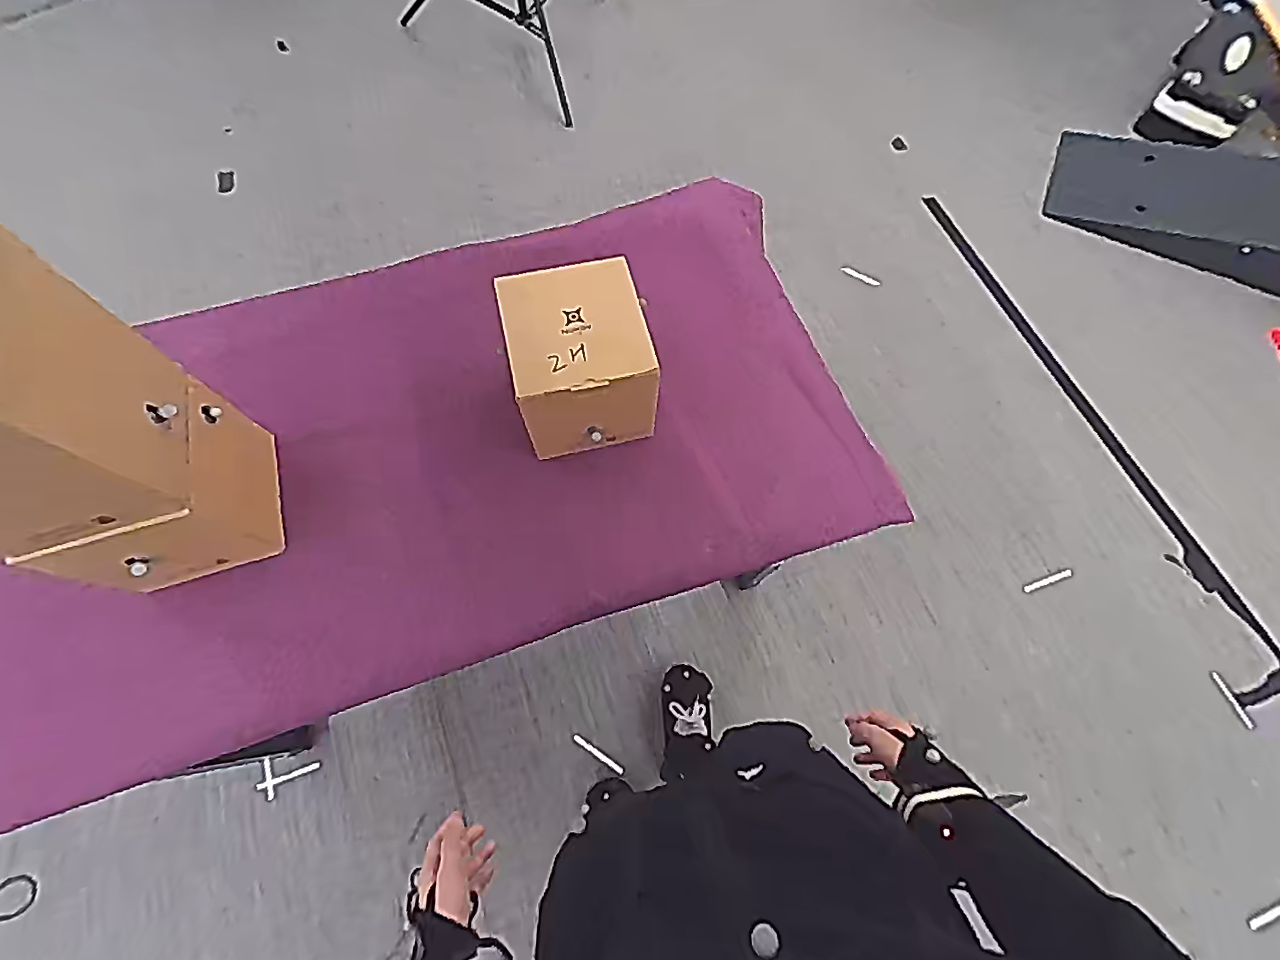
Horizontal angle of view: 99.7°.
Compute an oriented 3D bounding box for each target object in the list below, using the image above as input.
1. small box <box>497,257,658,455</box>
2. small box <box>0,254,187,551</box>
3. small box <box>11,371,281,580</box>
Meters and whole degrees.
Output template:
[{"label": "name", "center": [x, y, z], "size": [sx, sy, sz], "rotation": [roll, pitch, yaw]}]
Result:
[{"label": "small box", "center": [-0.080, -0.155, 0.709], "size": [0.168, 0.176, 0.179], "rotation": [-13, 69, -6]}, {"label": "small box", "center": [-0.546, -0.059, 0.478], "size": [0.168, 0.176, 0.179], "rotation": [-17, 69, -9]}, {"label": "small box", "center": [-0.549, 0.007, 0.628], "size": [0.168, 0.176, 0.179], "rotation": [-17, 69, -9]}]
